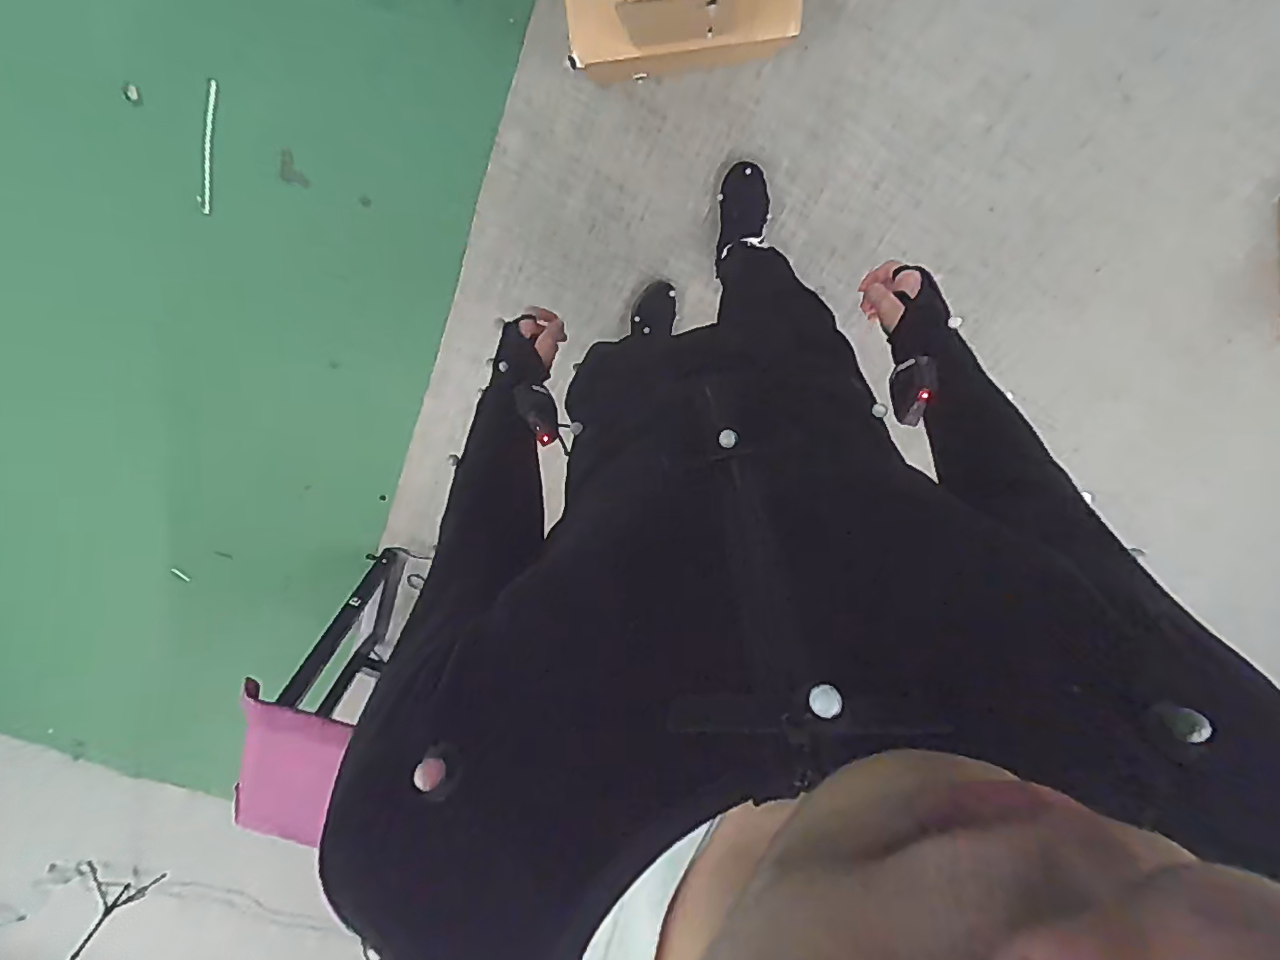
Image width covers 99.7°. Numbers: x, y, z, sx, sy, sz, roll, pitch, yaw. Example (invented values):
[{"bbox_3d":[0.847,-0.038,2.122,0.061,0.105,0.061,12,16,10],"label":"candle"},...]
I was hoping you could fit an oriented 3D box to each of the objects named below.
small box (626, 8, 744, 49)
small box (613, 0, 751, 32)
[{"bbox_3d":[0.063,-0.783,0.828,0.179,0.176,0.168,-3,121,6],"label":"small box"},{"bbox_3d":[0.052,-0.697,0.689,0.179,0.176,0.168,-1,120,5],"label":"small box"}]
